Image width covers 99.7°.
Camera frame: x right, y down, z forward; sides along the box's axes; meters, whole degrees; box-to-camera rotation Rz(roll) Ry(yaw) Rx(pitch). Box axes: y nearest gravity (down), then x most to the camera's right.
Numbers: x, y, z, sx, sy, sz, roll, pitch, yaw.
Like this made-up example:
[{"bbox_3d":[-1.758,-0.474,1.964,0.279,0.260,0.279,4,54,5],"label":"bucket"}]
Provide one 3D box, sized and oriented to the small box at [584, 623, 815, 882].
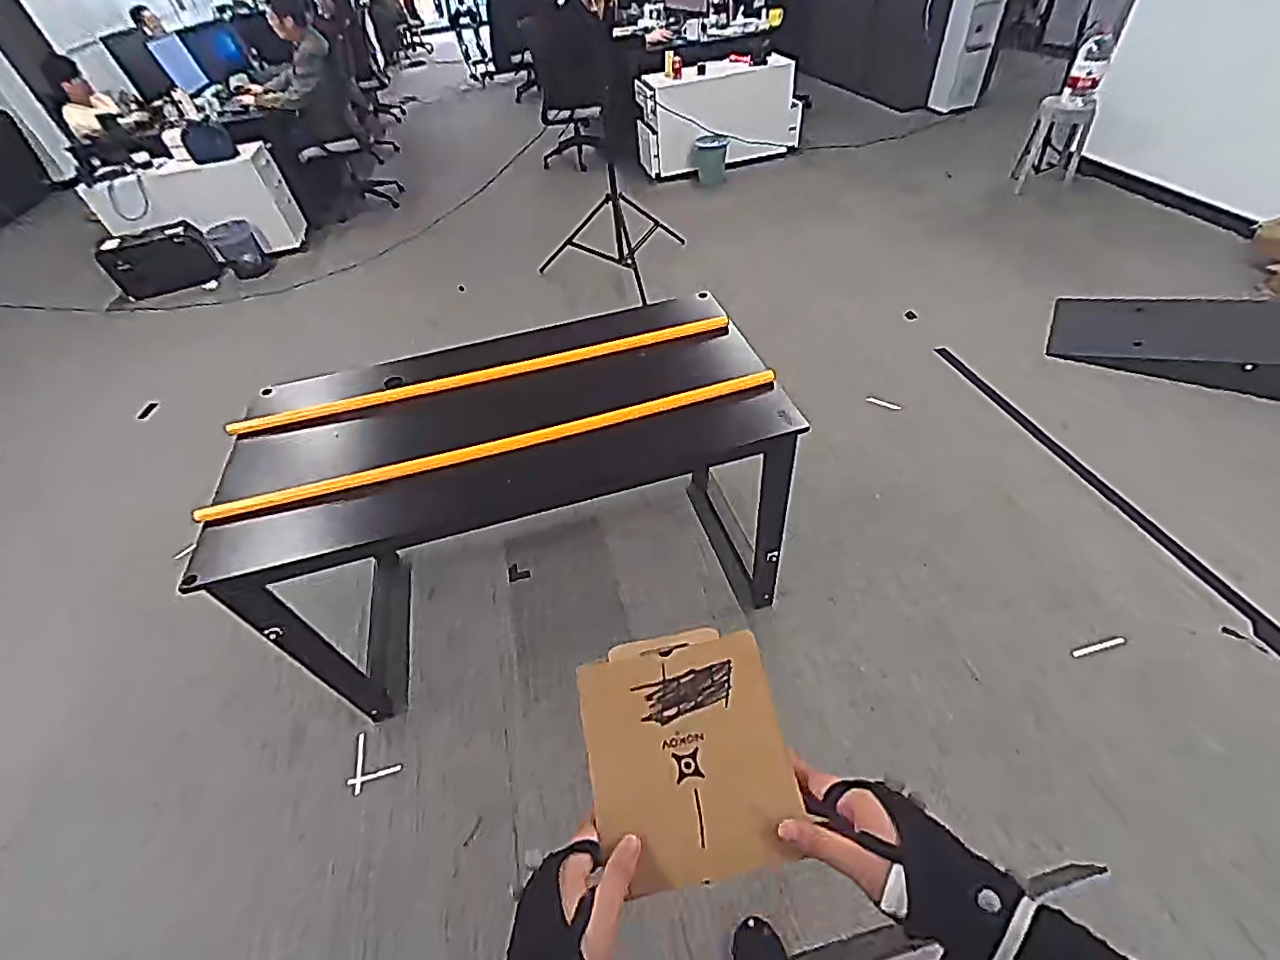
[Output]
[{"bbox_3d":[0.046,0.258,0.524,0.168,0.176,0.179,-11,62,-1],"label":"small box"}]
